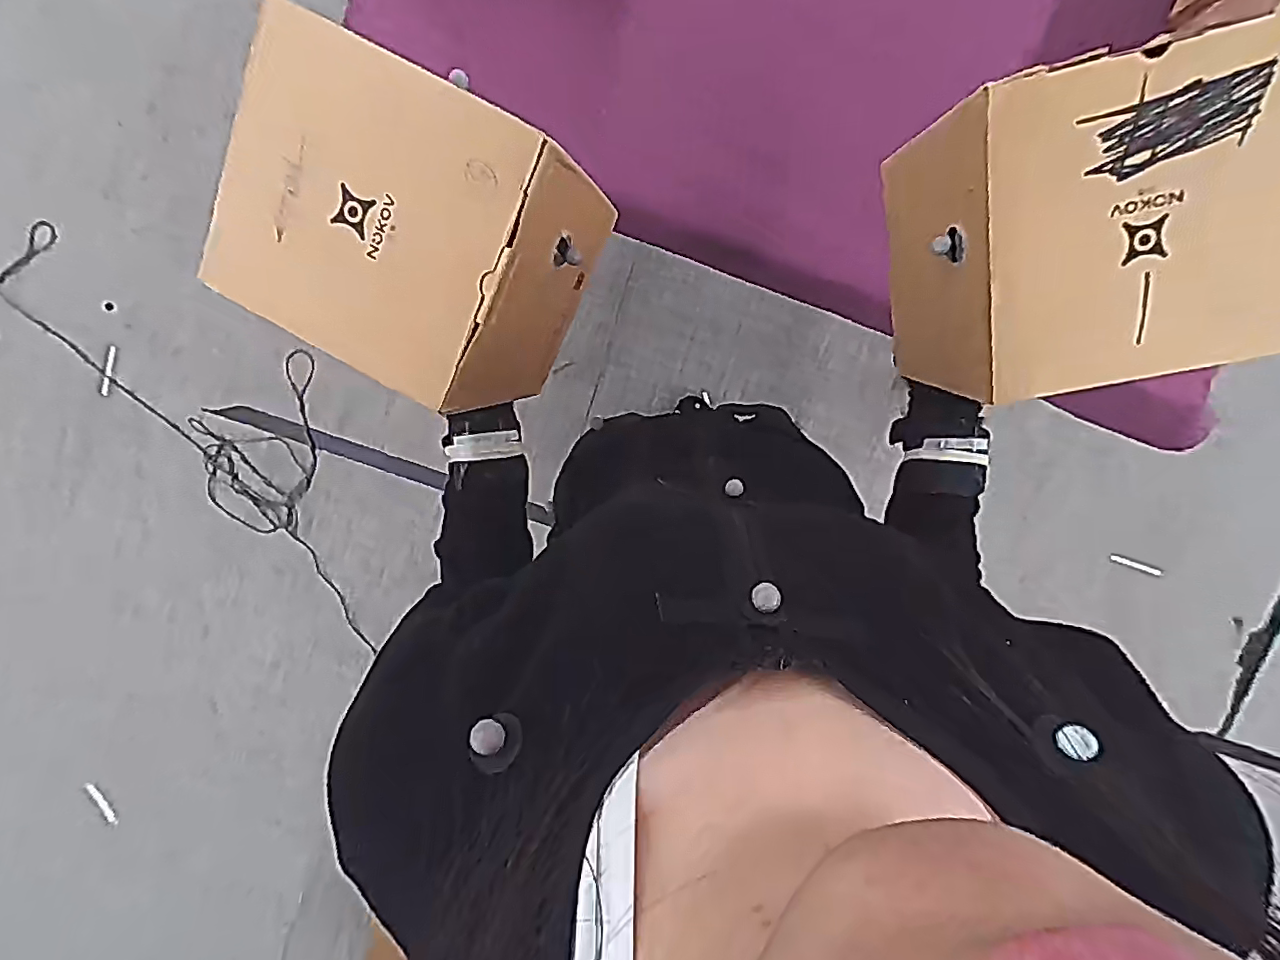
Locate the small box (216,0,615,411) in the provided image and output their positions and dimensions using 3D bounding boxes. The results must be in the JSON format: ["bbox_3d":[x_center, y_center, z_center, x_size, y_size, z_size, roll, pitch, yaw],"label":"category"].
[{"bbox_3d":[-0.137,-0.168,0.384,0.179,0.176,0.168,28,106,3],"label":"small box"}]

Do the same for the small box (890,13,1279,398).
[{"bbox_3d":[0.290,-0.167,0.378,0.168,0.176,0.179,-10,107,8],"label":"small box"}]
